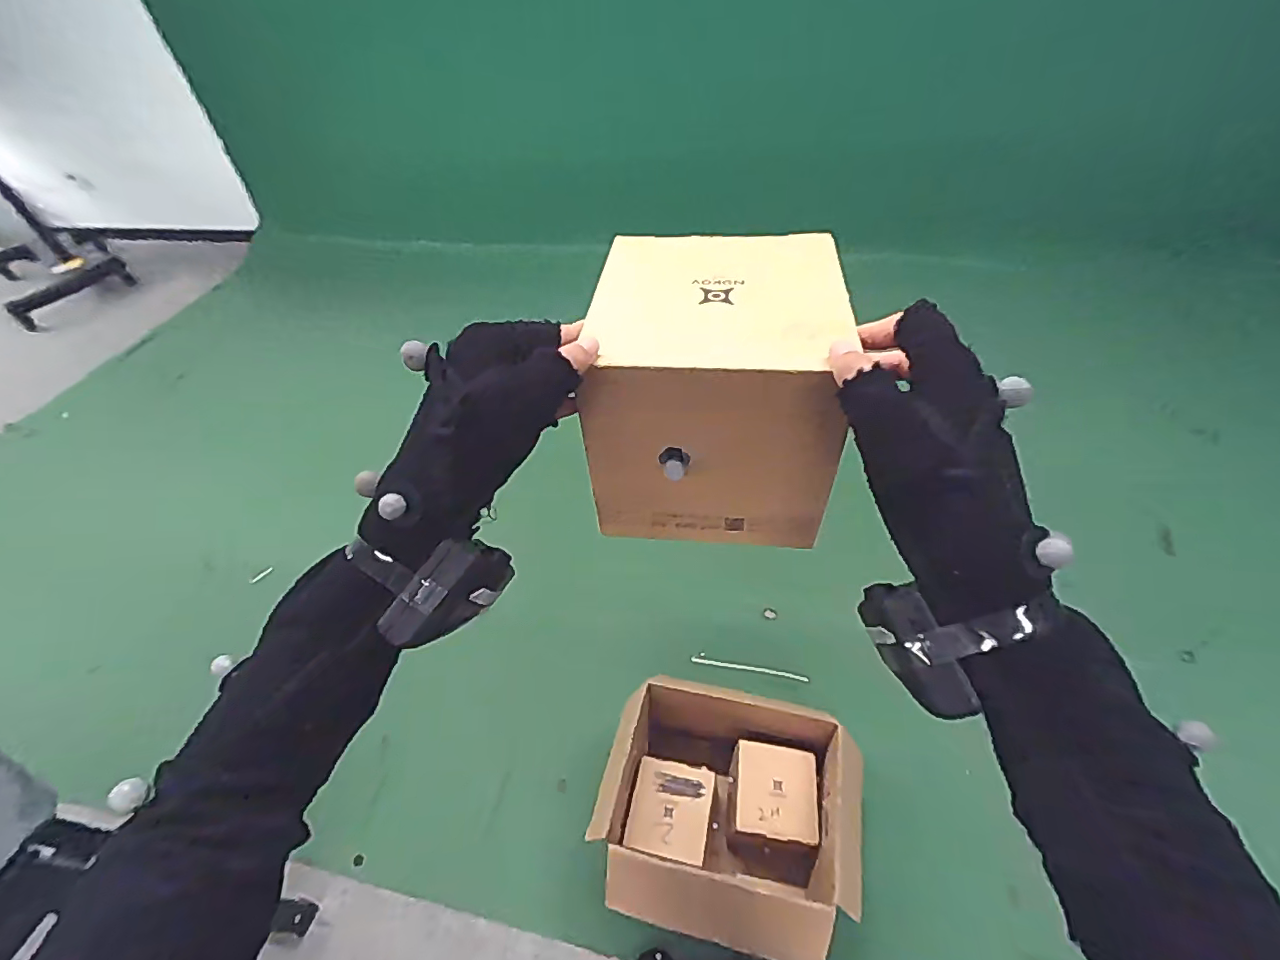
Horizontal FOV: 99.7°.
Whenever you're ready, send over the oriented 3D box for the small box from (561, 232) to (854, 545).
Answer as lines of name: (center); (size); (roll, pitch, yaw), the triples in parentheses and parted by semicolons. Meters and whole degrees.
small box: (0.050, -0.067, 0.410); (0.168, 0.176, 0.179); (2, 46, 7)
